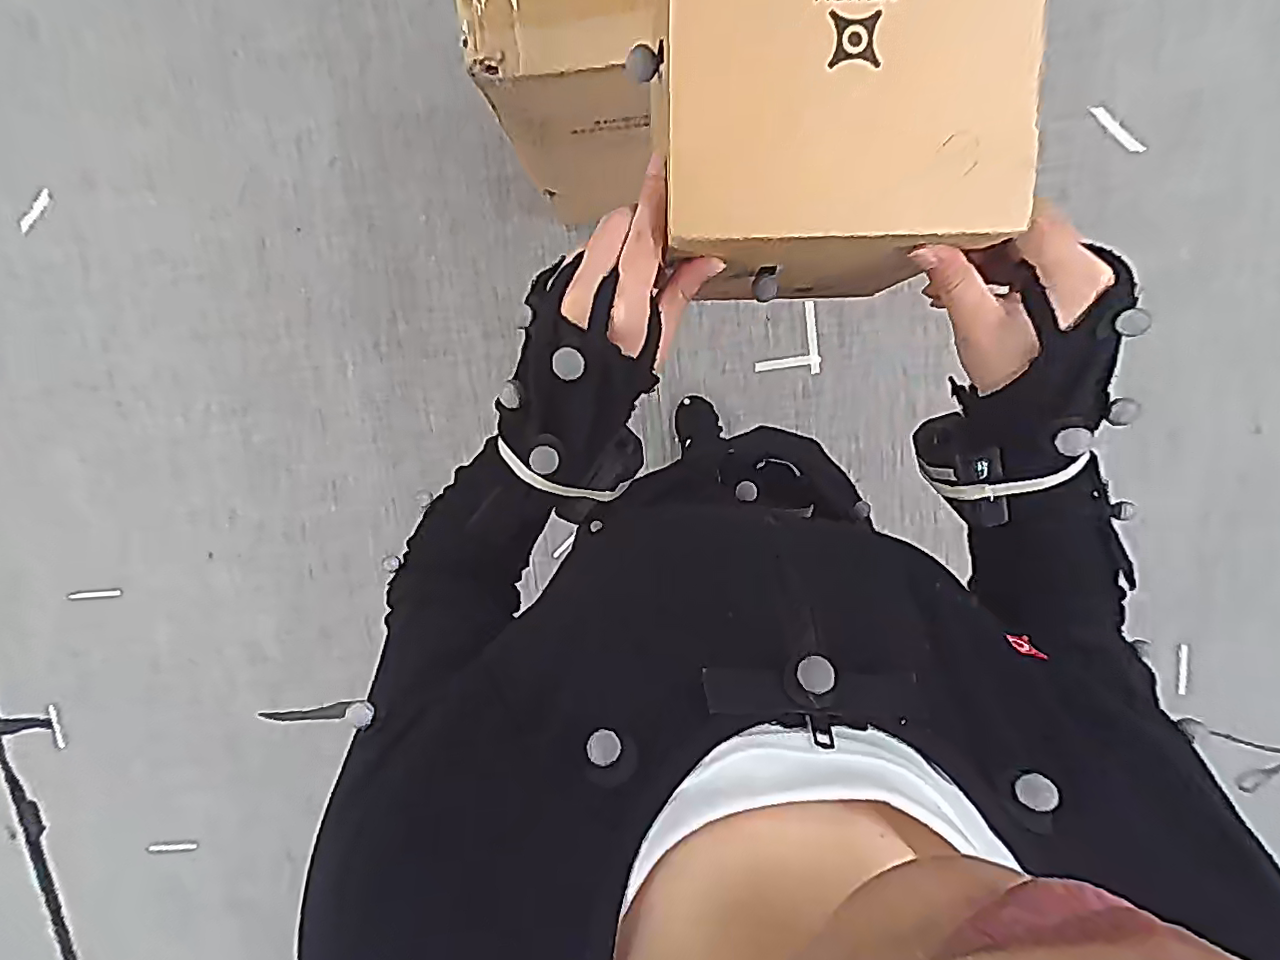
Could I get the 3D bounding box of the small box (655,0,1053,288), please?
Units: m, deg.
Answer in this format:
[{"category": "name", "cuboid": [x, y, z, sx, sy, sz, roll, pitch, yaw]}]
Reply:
[{"category": "small box", "cuboid": [0.094, -0.215, 0.309, 0.168, 0.176, 0.179, -2, 97, 1]}]
